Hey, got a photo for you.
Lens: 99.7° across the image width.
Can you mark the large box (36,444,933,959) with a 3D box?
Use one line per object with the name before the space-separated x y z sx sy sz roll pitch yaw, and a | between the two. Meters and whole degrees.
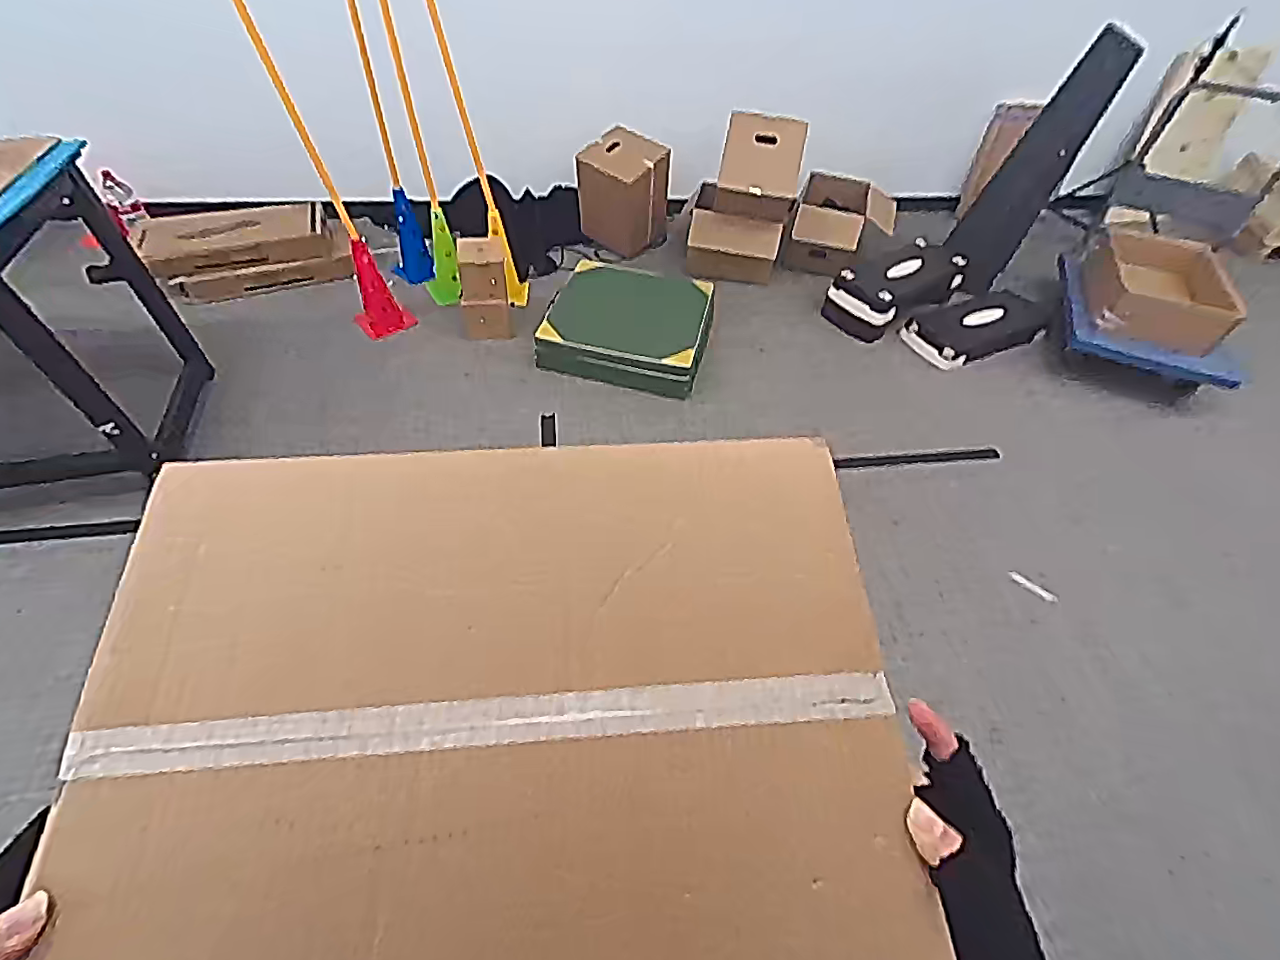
large box | -0.079 0.188 0.421 0.408 0.320 0.320 -3 65 -4
